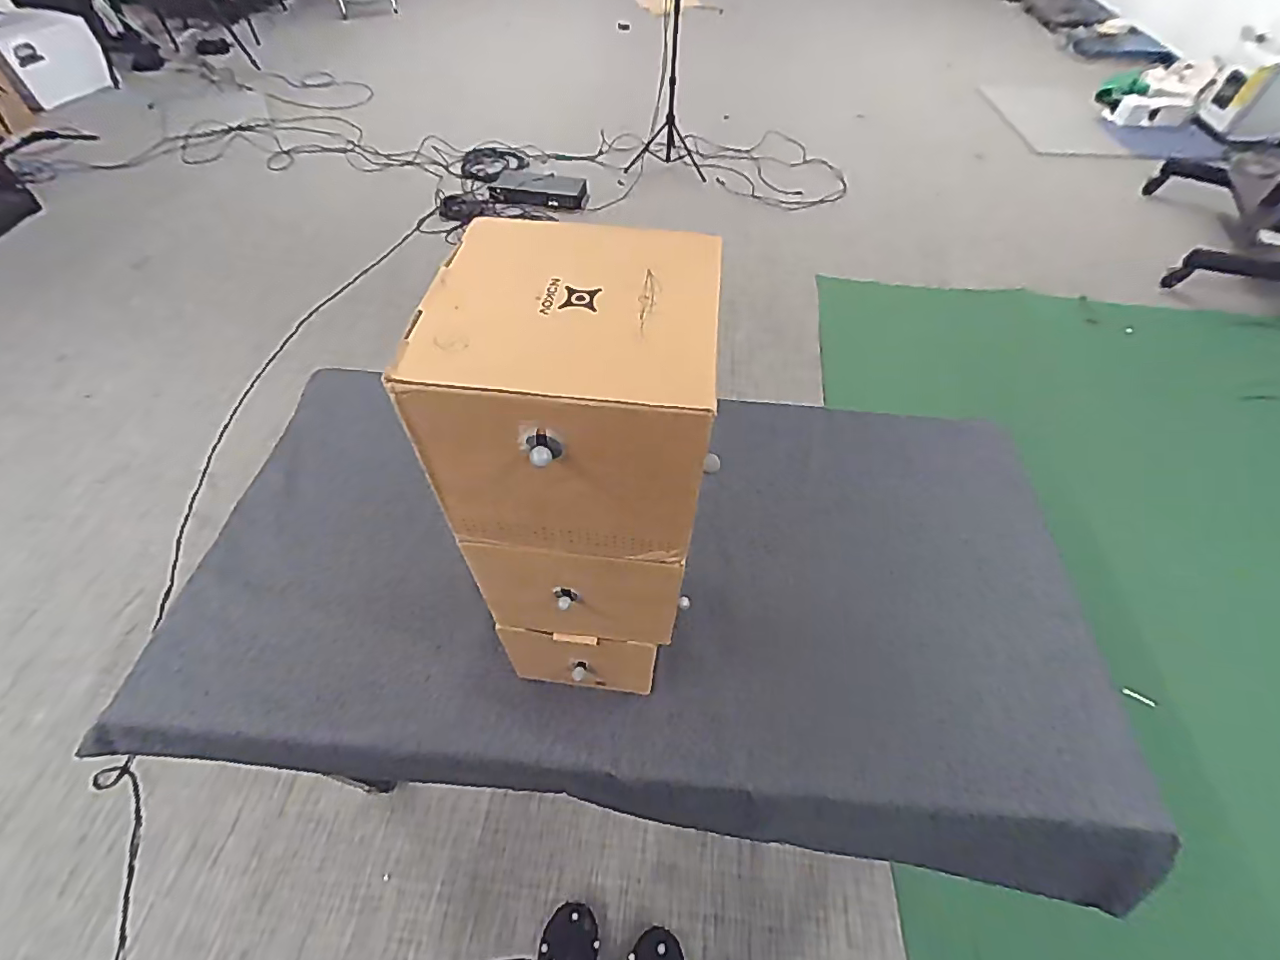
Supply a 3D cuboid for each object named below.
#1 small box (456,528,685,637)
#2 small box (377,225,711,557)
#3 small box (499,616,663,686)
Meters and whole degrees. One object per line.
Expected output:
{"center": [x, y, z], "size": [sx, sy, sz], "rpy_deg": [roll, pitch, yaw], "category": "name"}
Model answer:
{"center": [-0.047, 0.040, 0.519], "size": [0.179, 0.176, 0.168], "rpy_deg": [4, 53, 4], "category": "small box"}
{"center": [-0.046, -0.058, 0.389], "size": [0.179, 0.176, 0.168], "rpy_deg": [5, 54, 2], "category": "small box"}
{"center": [-0.053, 0.135, 0.653], "size": [0.168, 0.176, 0.179], "rpy_deg": [5, 54, 4], "category": "small box"}
